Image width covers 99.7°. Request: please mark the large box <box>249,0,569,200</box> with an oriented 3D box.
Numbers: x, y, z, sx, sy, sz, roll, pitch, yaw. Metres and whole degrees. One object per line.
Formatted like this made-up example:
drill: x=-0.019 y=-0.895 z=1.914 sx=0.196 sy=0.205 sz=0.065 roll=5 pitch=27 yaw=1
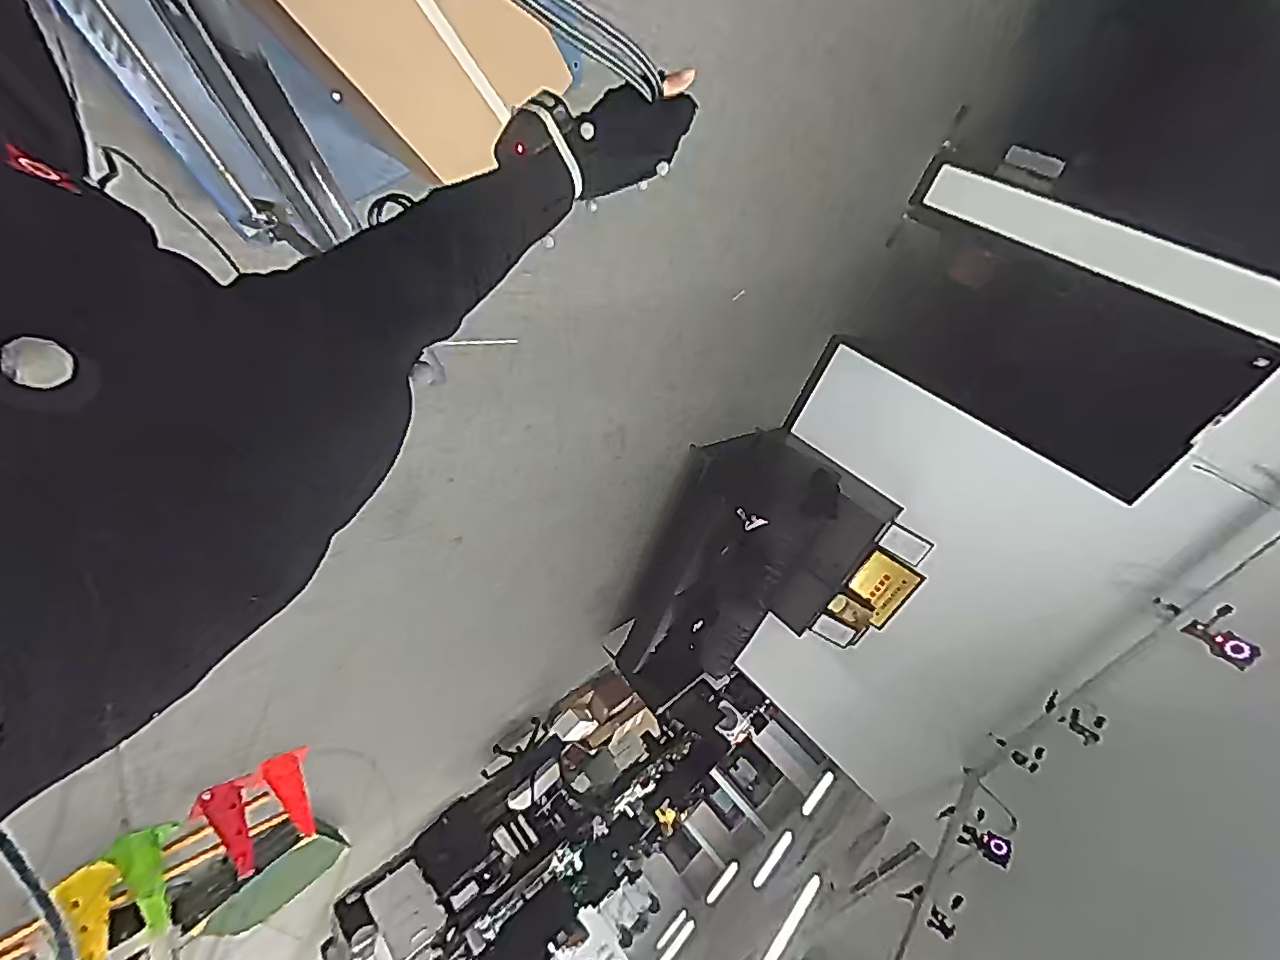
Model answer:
large box: x=-0.401 y=-0.779 z=0.908 sx=0.320 sy=0.320 sz=0.408 roll=-50 pitch=152 yaw=2
